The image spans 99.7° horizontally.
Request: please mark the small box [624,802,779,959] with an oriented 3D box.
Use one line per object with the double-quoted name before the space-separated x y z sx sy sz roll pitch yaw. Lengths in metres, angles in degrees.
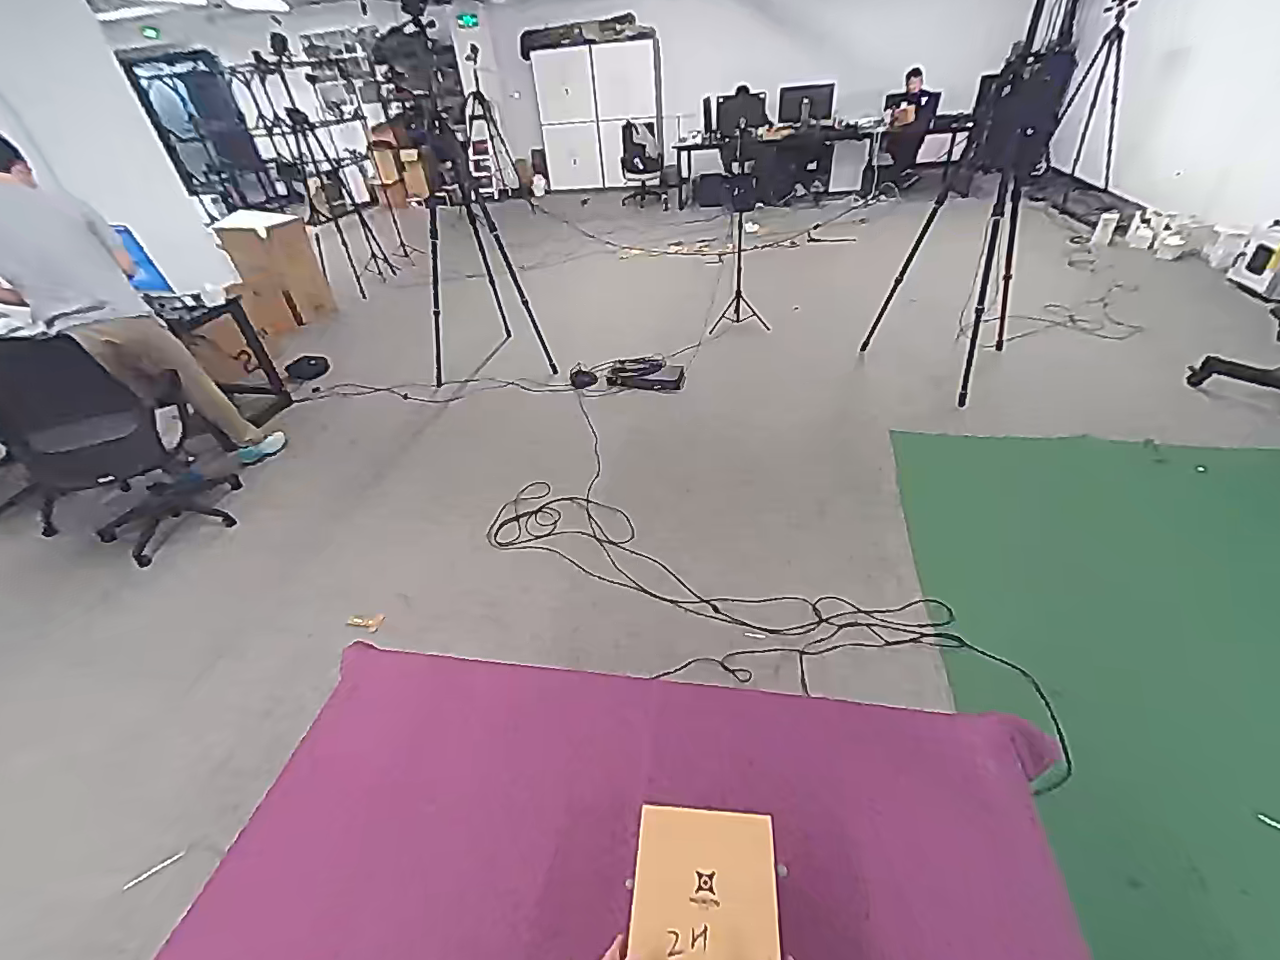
"small box" 0.078 0.533 0.667 0.168 0.176 0.179 0 38 9
